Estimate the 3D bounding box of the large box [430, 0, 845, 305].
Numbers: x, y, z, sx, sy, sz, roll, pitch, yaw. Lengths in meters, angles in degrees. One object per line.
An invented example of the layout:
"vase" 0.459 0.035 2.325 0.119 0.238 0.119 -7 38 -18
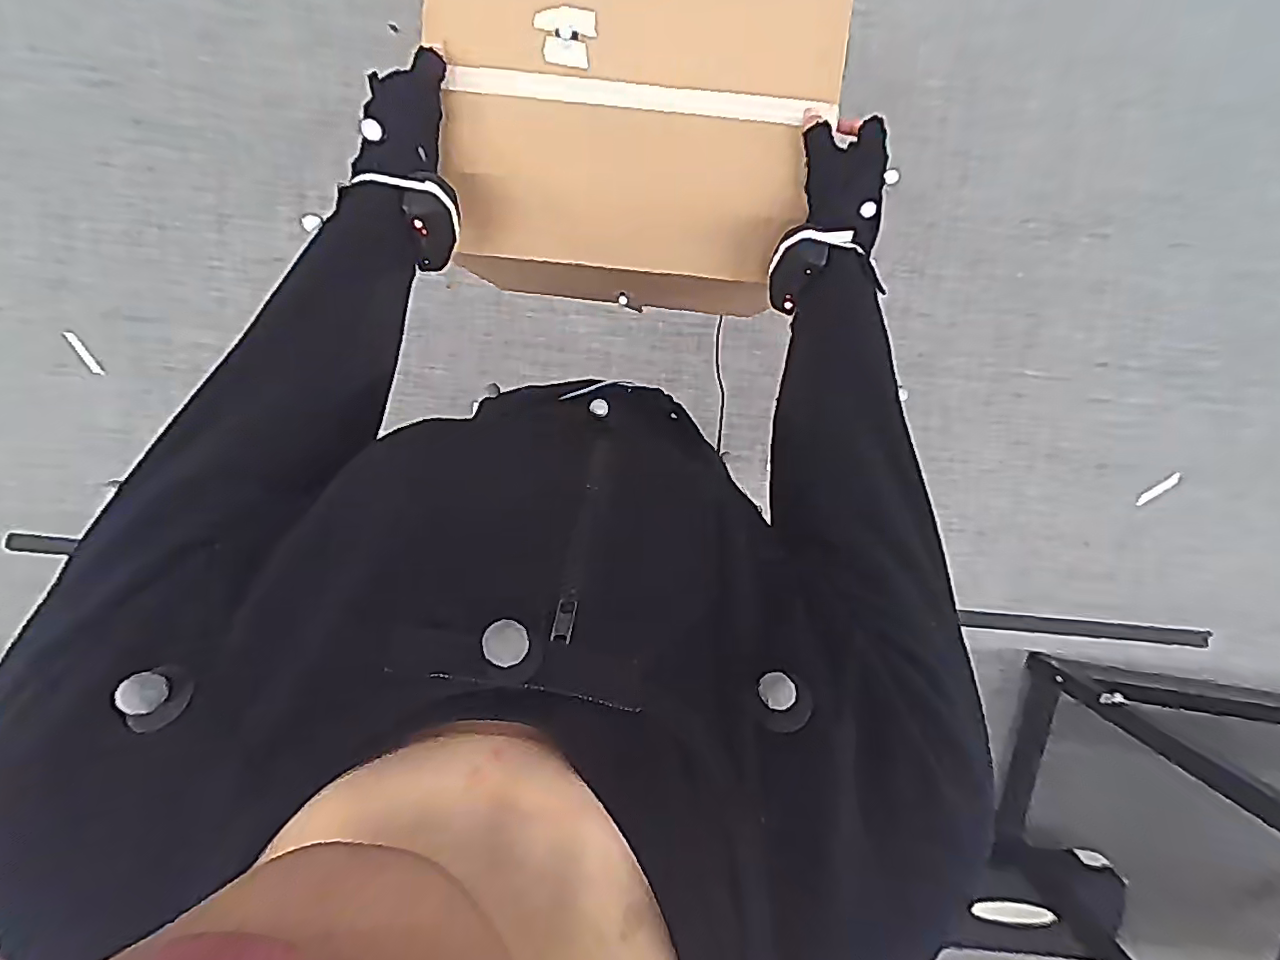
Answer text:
"large box" -0.005 -0.408 0.681 0.408 0.320 0.320 6 101 0
